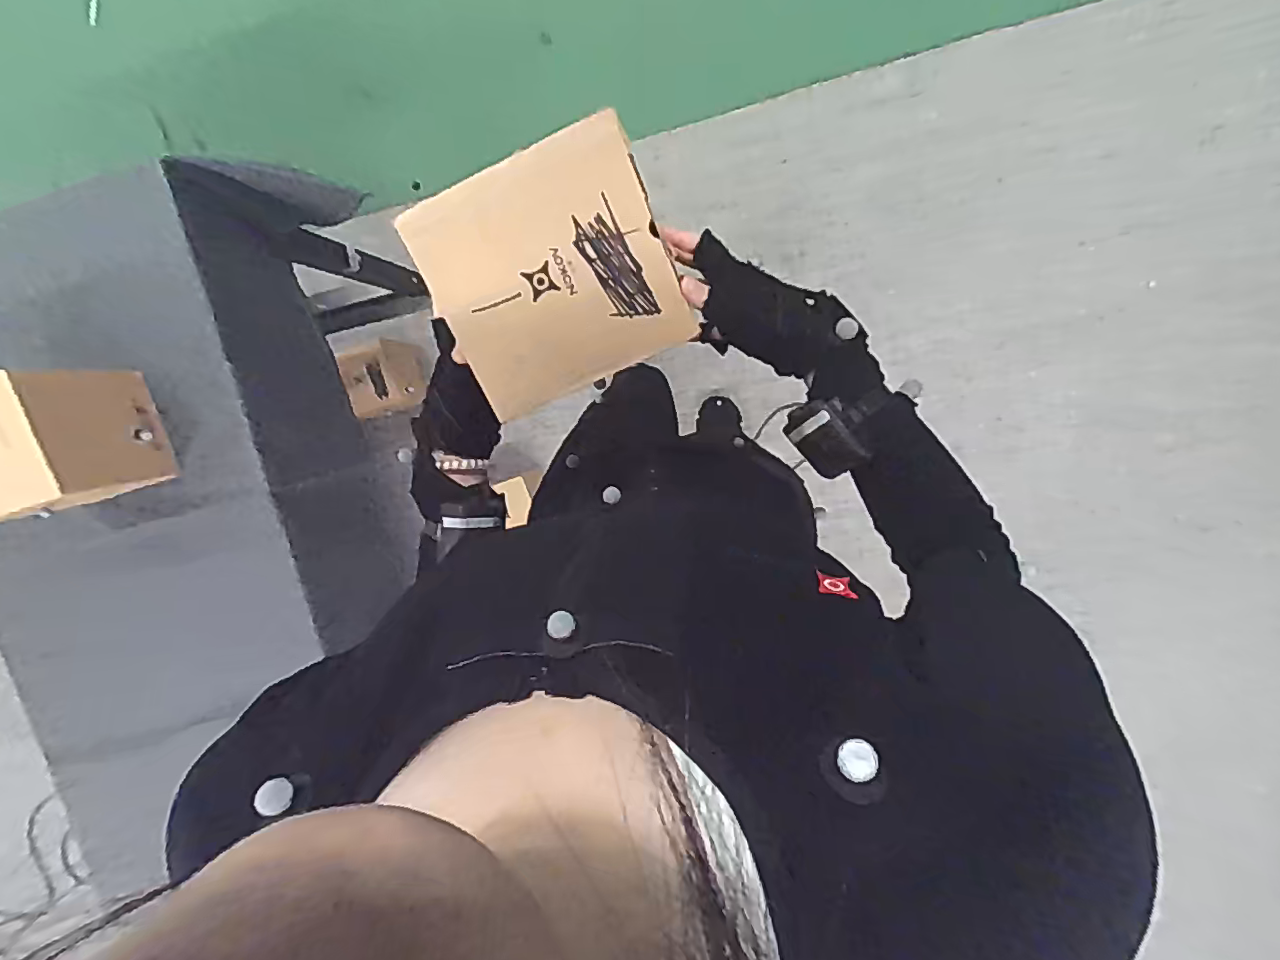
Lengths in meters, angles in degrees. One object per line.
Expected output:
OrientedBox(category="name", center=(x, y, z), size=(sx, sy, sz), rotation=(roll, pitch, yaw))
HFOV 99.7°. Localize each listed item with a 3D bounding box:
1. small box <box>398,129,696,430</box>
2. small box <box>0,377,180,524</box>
OrientedBox(category="small box", center=(-0.068, -0.166, 0.478), size=(0.179, 0.176, 0.168), rotation=(-22, 107, 6))
OrientedBox(category="small box", center=(-0.814, -0.042, 0.756), size=(0.179, 0.176, 0.168), rotation=(-14, 99, 9))
